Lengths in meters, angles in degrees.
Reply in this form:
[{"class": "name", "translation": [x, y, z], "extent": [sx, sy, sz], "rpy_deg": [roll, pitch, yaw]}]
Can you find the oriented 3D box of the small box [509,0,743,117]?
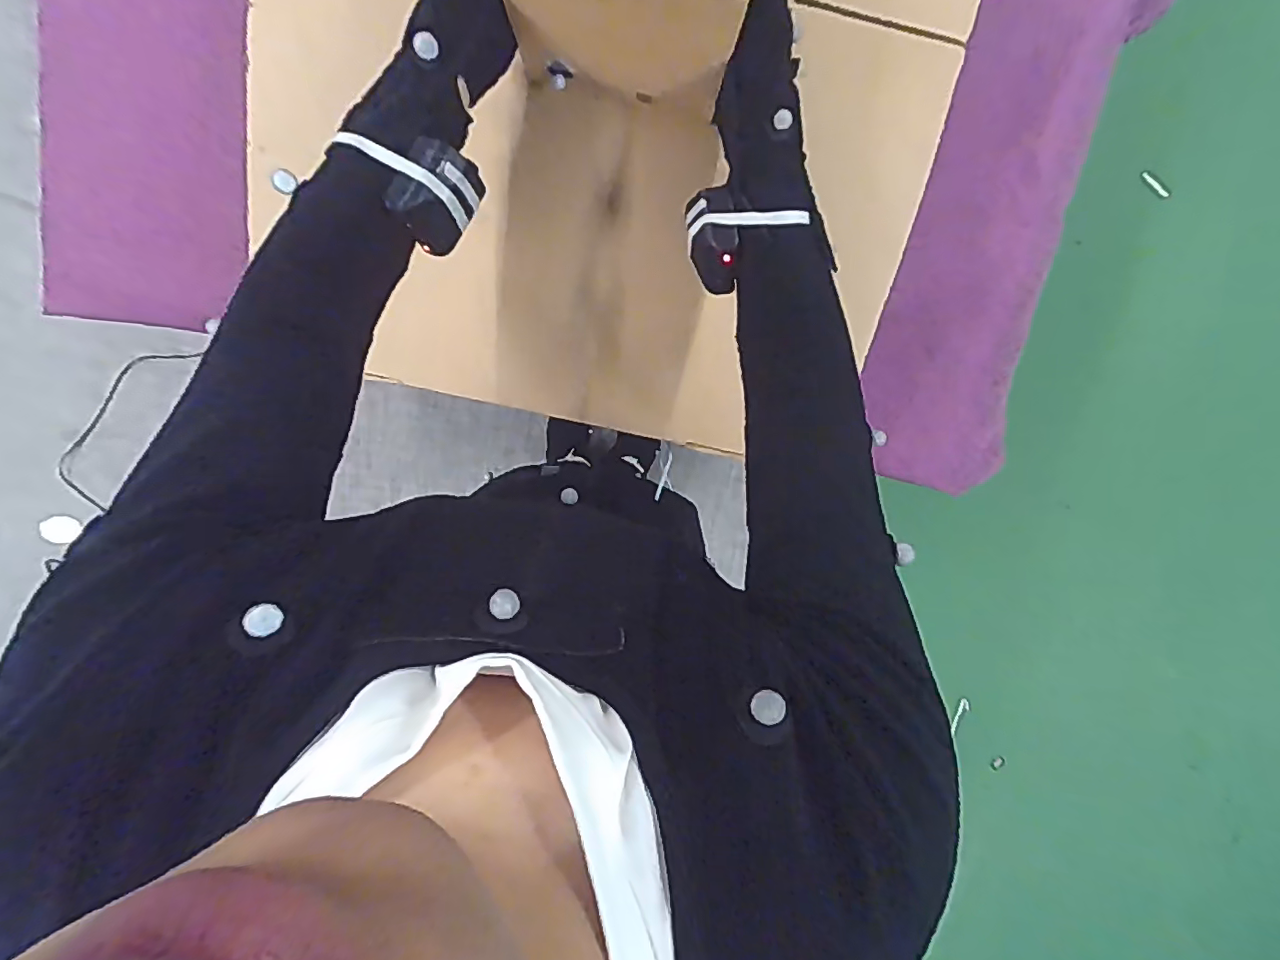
[{"class": "small box", "translation": [0.003, -0.401, 0.385], "extent": [0.168, 0.176, 0.179], "rpy_deg": [12, 99, -4]}]
